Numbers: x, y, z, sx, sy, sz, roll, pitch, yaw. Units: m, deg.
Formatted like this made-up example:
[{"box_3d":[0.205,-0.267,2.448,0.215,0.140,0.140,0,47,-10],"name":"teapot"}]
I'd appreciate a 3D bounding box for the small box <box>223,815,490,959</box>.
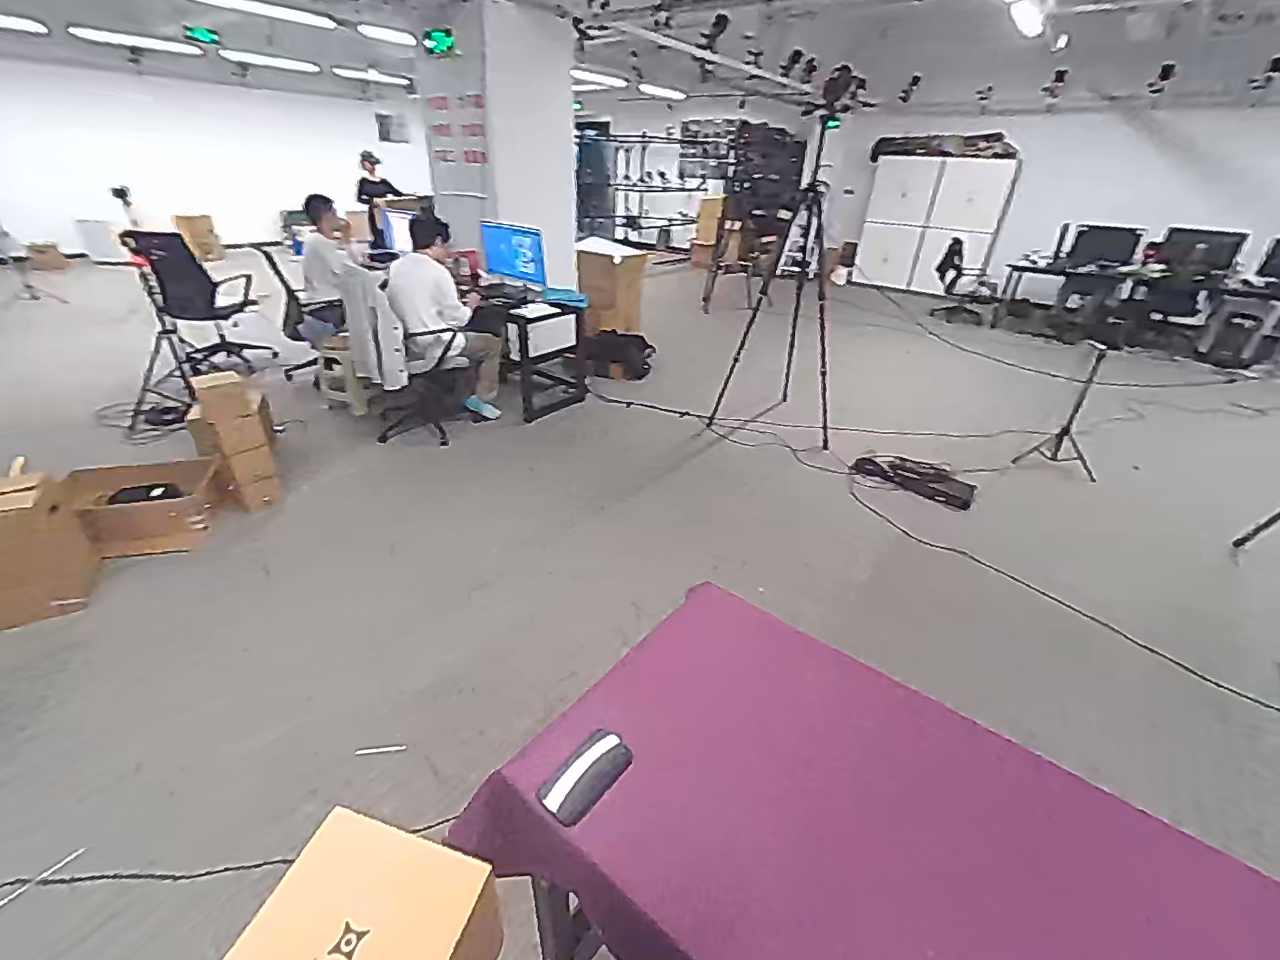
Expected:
[{"box_3d":[-0.244,0.444,0.471,0.168,0.176,0.179,12,34,11],"name":"small box"}]
